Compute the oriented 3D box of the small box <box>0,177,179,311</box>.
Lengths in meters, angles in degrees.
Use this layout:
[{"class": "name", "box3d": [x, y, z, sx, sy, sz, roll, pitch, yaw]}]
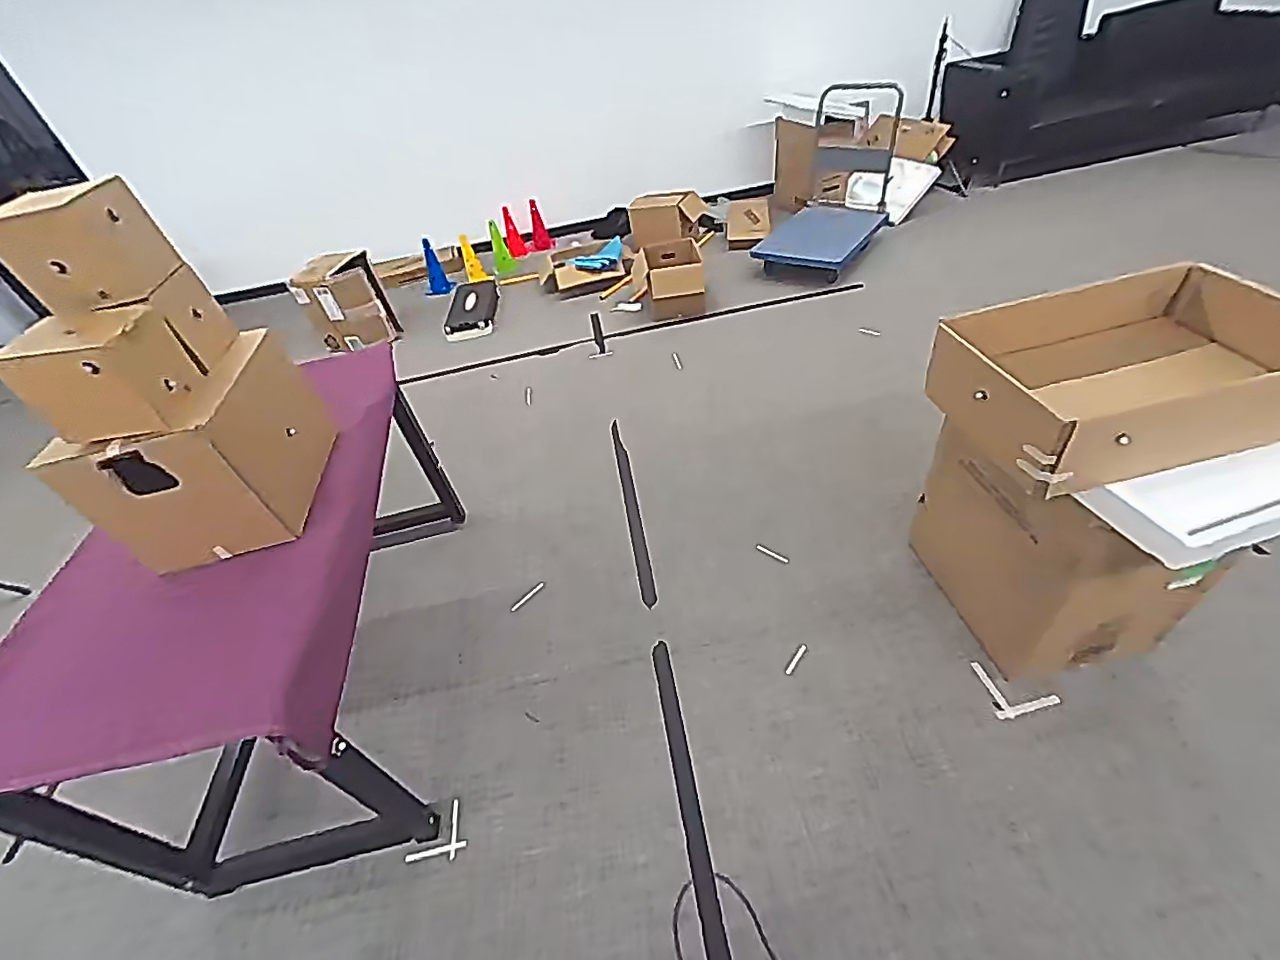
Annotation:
[{"class": "small box", "box3d": [-1.011, -0.425, 0.992, 0.168, 0.176, 0.179, -13, 44, -2]}]
